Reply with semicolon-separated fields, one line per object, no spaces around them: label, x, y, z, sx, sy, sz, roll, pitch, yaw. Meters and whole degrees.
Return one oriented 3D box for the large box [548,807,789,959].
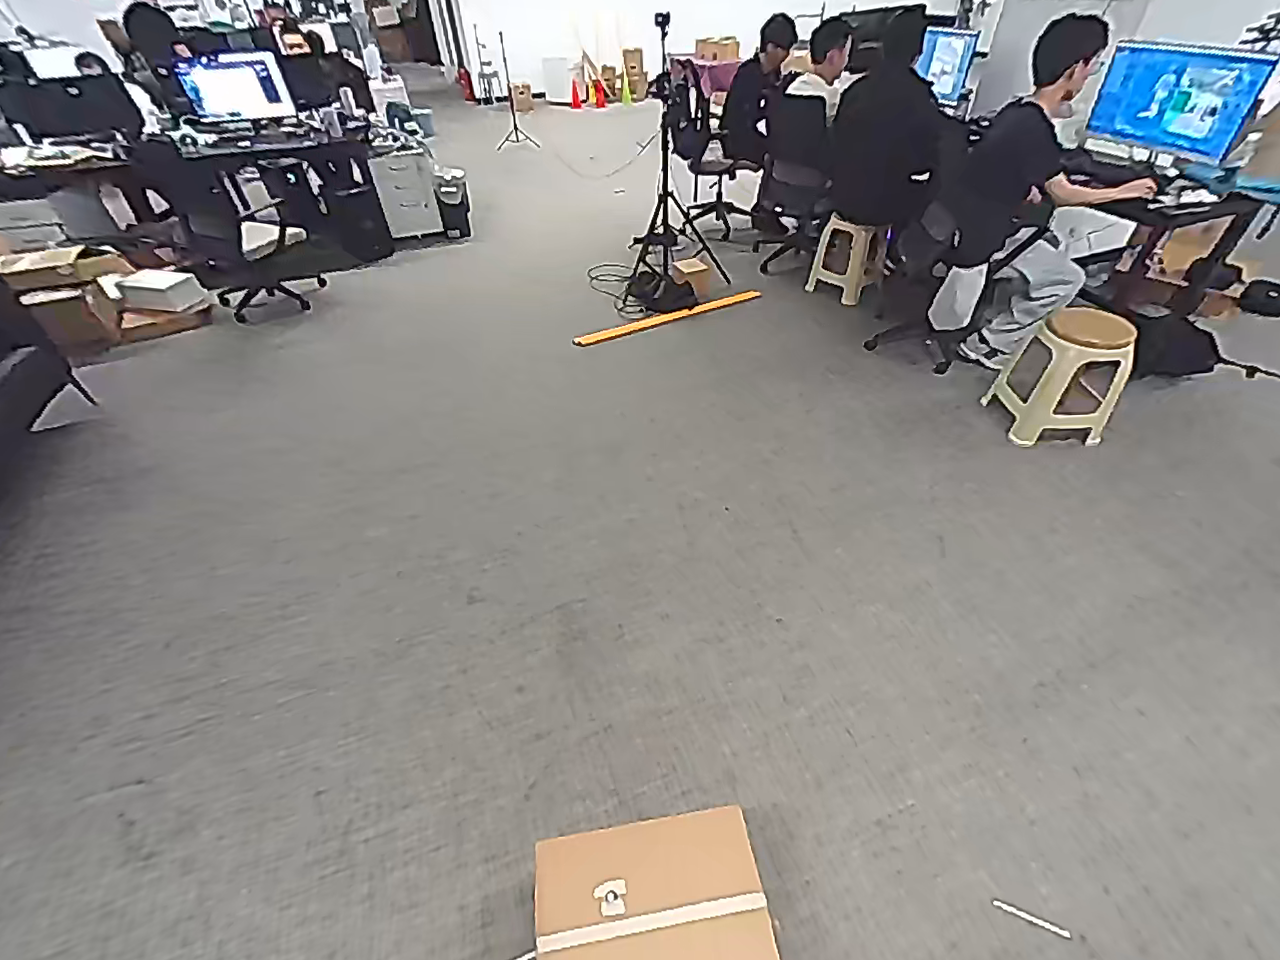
large box;0.053;0.889;1.053;0.408;0.320;0.320;-9;43;-3
